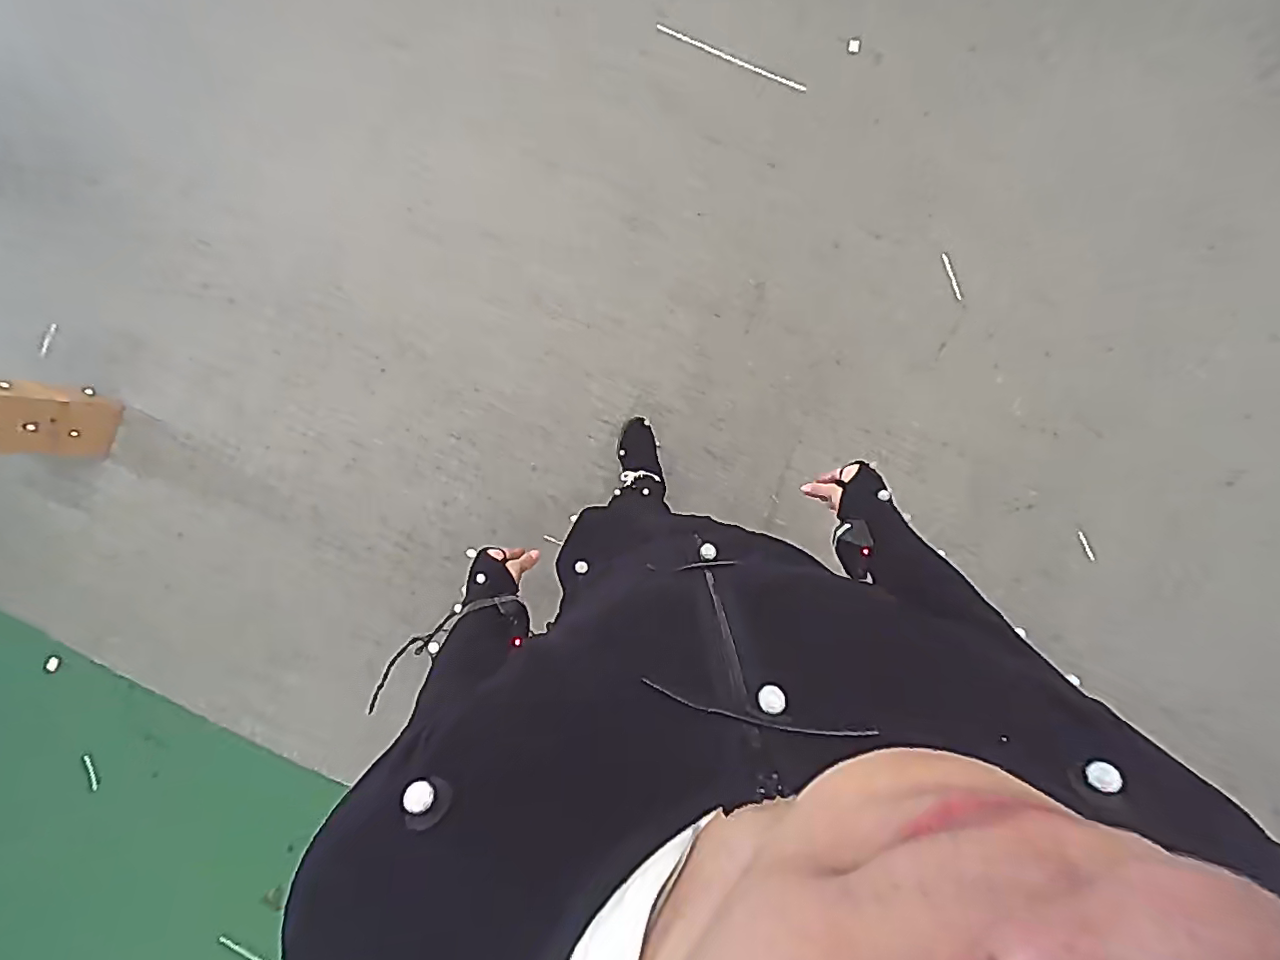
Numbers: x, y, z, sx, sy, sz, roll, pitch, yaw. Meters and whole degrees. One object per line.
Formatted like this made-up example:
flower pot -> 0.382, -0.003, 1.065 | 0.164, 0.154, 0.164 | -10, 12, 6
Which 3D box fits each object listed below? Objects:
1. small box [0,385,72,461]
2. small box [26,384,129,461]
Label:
small box -> -1.728, -0.160, 1.471 | 0.179, 0.176, 0.168 | 21, 92, 1
small box -> -1.717, -0.166, 1.634 | 0.168, 0.176, 0.179 | 24, 91, 2
